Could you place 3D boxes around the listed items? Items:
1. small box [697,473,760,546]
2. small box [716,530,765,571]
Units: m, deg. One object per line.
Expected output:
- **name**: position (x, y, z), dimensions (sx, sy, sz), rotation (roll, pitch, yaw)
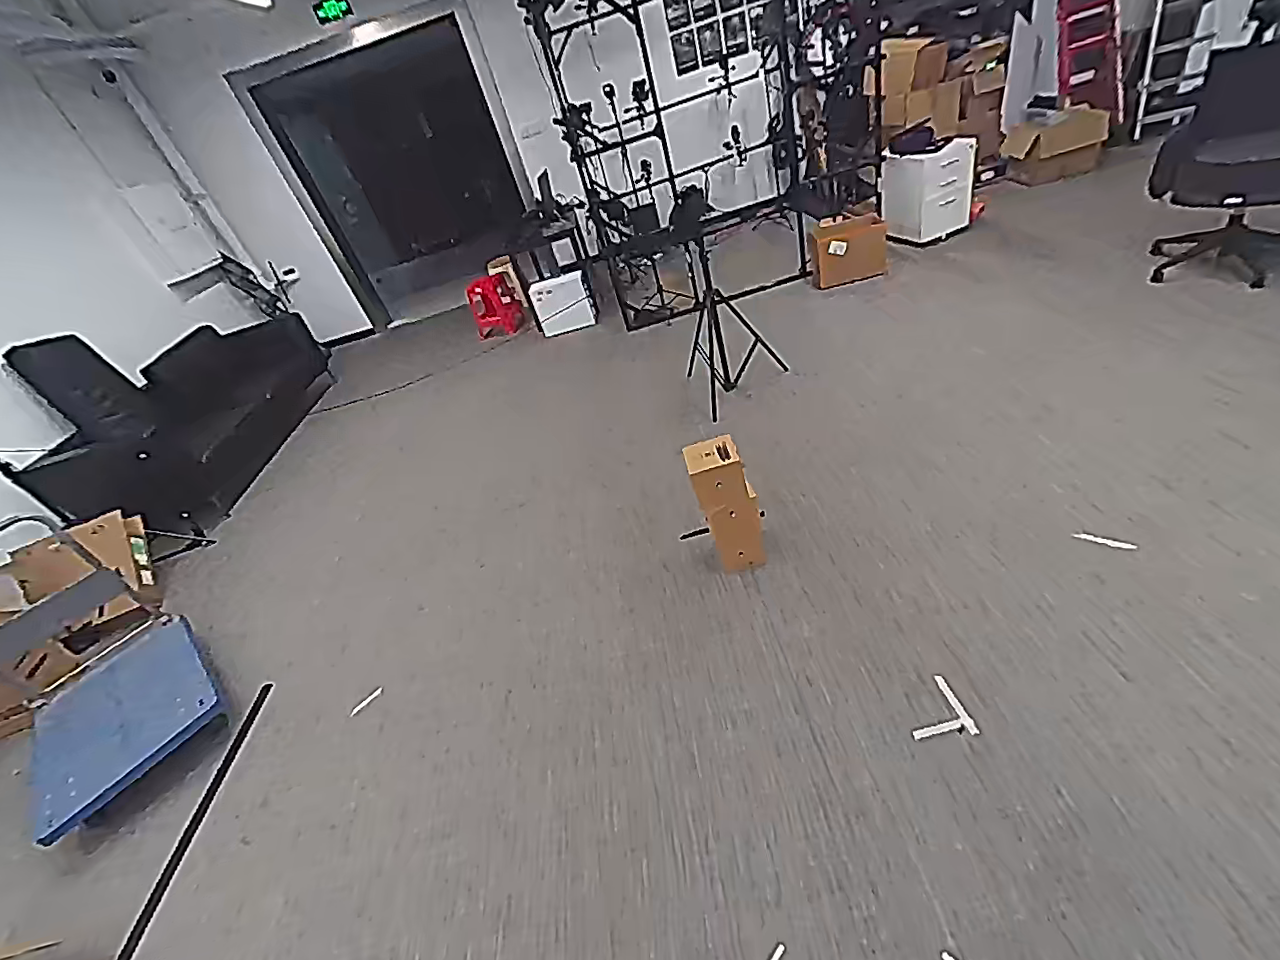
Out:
- **small box**: position (0.324, 0.109, 1.960), dimensions (0.179, 0.176, 0.168), rotation (-20, 35, 0)
- **small box**: position (0.372, 0.227, 2.061), dimensions (0.168, 0.176, 0.179), rotation (-14, 35, 7)
